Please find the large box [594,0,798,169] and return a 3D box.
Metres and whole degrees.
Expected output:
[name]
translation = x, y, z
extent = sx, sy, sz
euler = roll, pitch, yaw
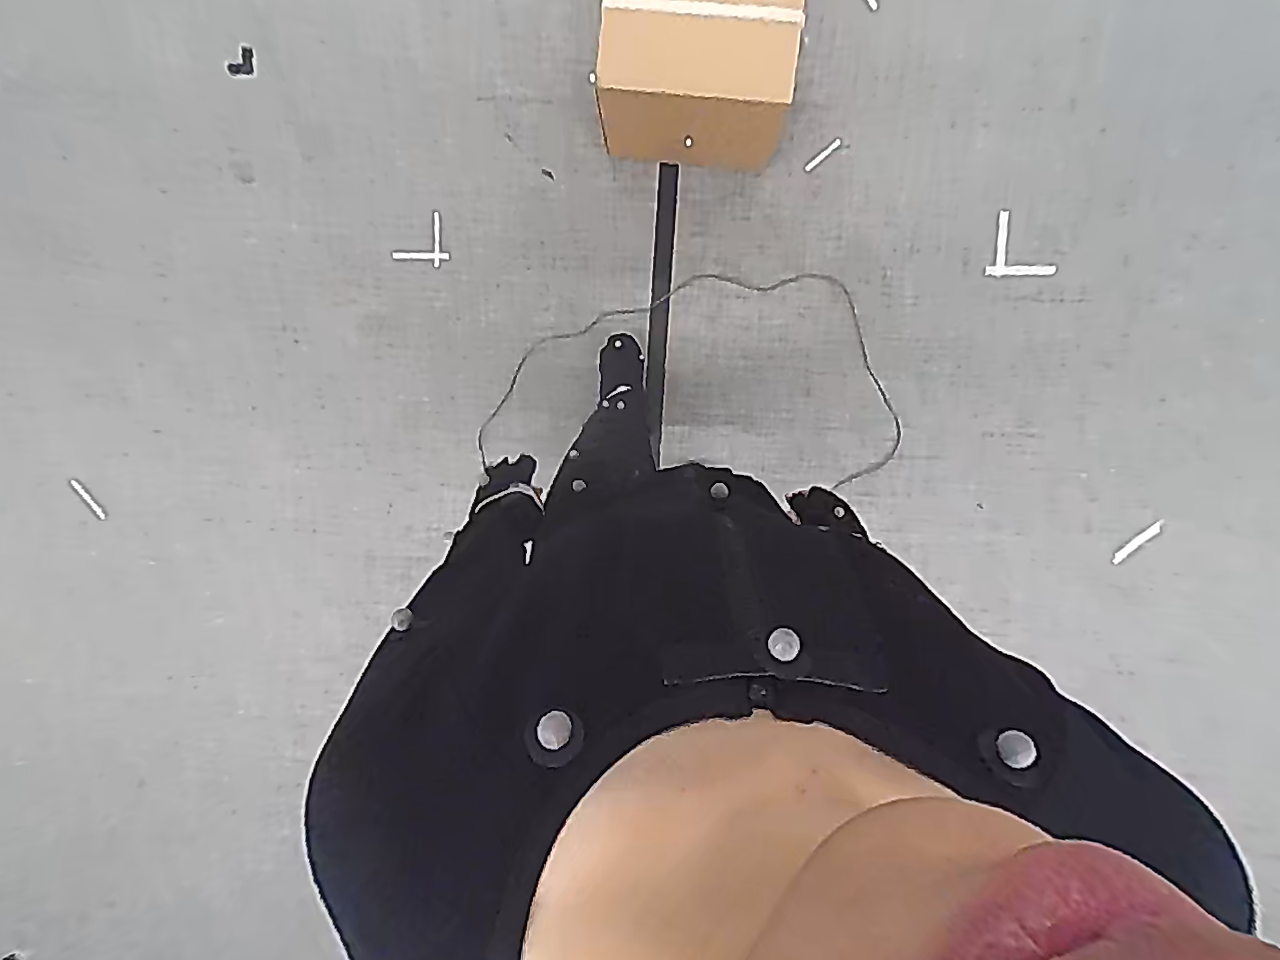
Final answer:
[large box]
translation = 0.123, -0.946, 1.235
extent = 0.408, 0.320, 0.320
euler = 6, 96, 2
